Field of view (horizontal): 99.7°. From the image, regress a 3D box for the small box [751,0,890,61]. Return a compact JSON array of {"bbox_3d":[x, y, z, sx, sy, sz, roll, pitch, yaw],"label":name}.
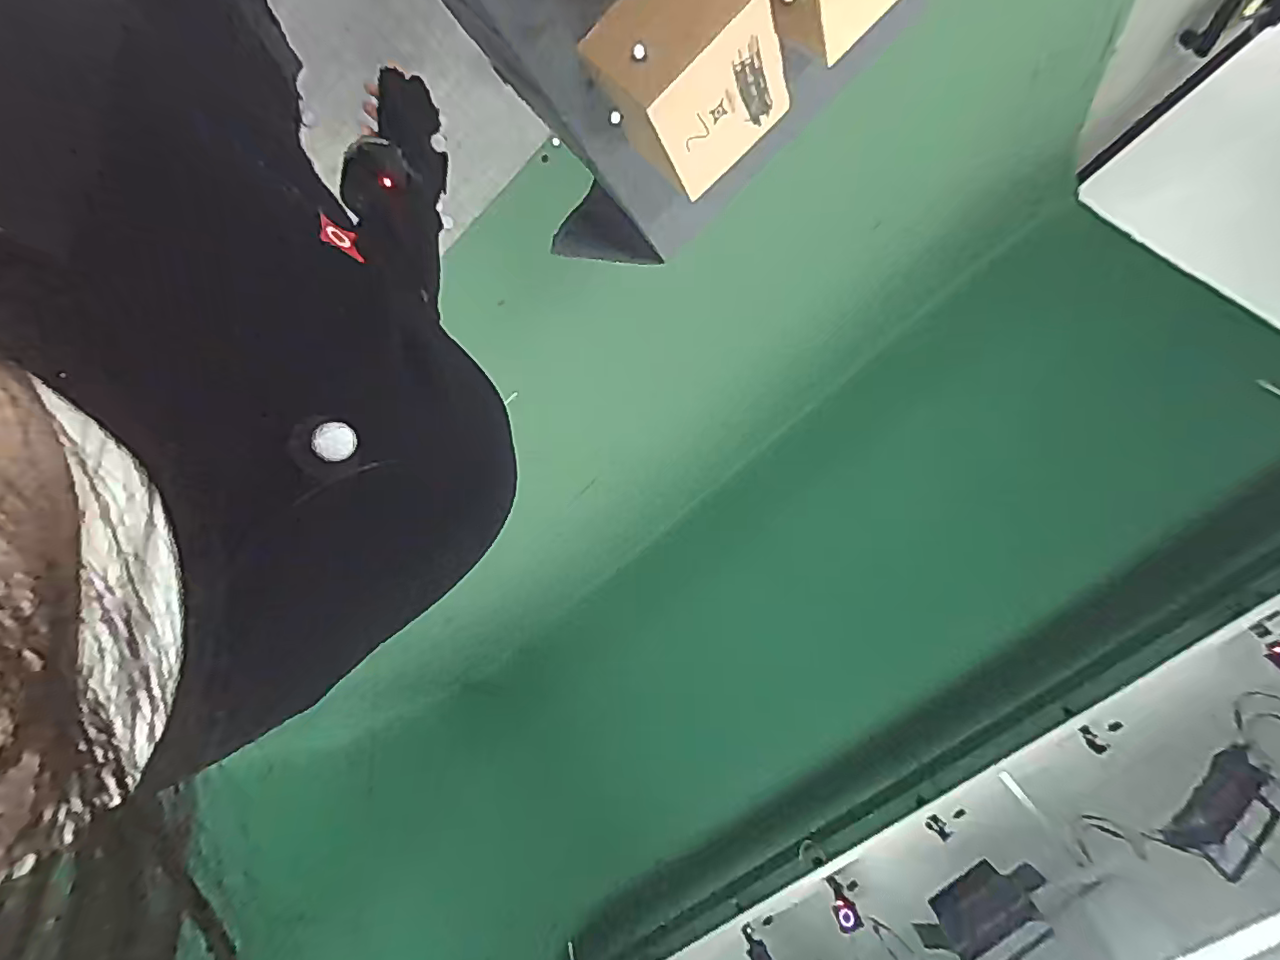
[{"bbox_3d":[0.223,-0.668,0.640,0.168,0.176,0.179,-41,155,13],"label":"small box"}]
